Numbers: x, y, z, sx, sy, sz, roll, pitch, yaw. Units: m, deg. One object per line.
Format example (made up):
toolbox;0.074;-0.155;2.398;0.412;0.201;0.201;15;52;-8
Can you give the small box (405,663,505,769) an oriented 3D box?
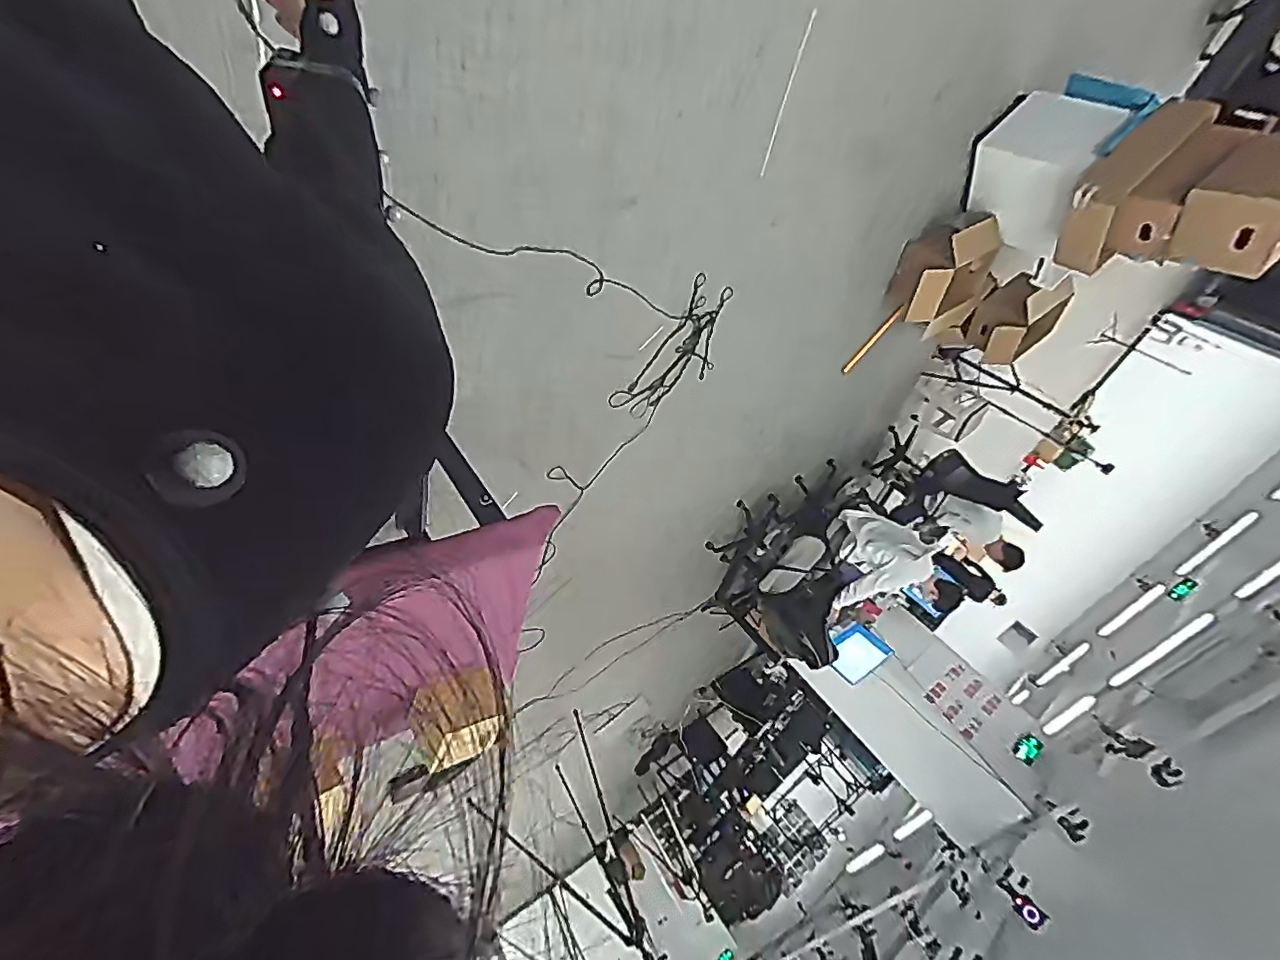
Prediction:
small box;-0.490;0.611;1.425;0.179;0.176;0.168;-2;128;-45

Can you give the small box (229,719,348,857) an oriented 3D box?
small box;-0.765;0.662;1.182;0.179;0.176;0.168;-16;137;-38
